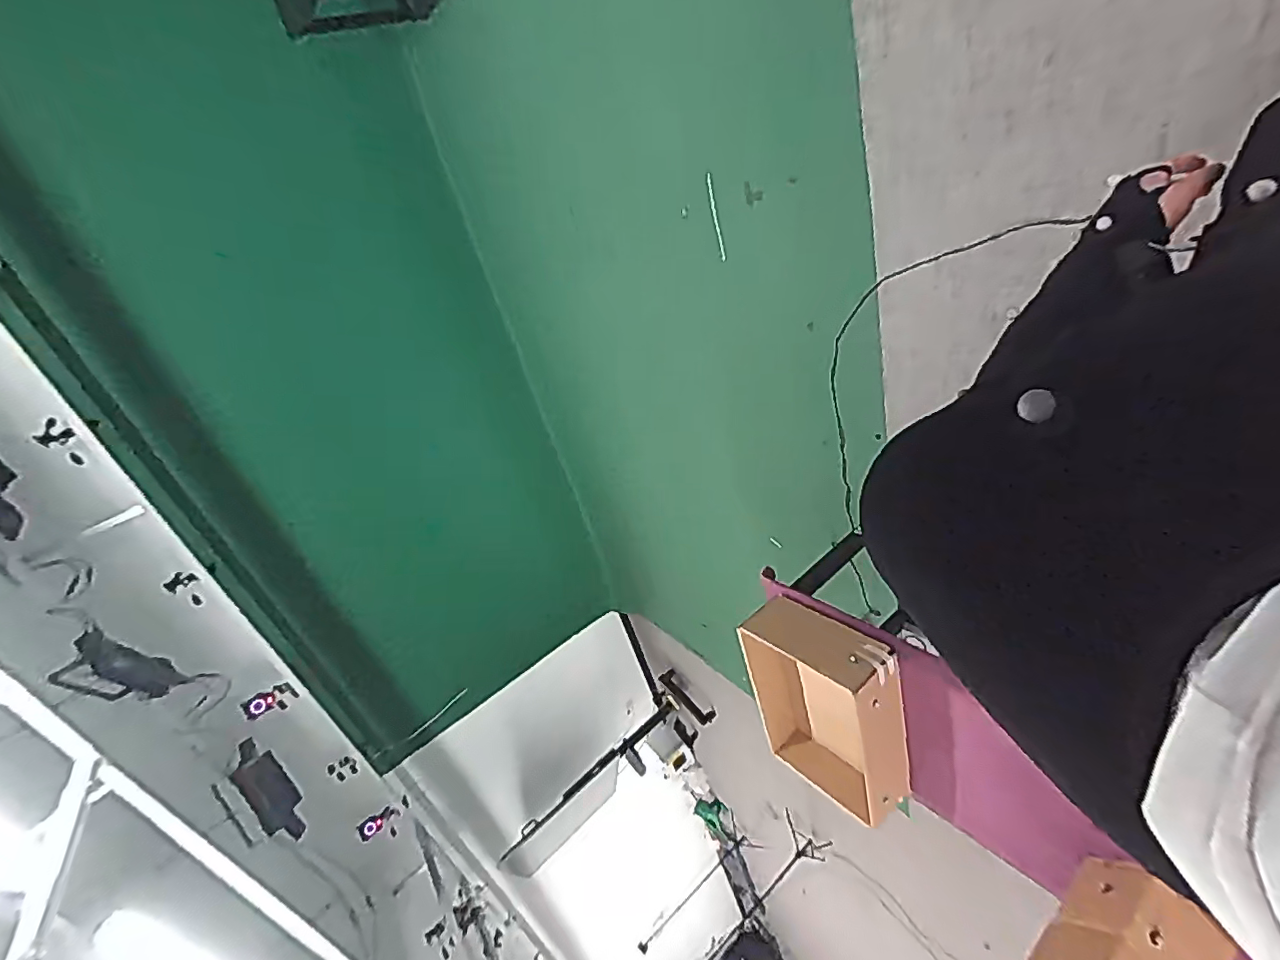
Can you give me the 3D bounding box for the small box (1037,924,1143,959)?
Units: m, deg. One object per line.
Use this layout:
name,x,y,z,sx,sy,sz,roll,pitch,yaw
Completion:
small box,0.886,1.001,1.030,0.168,0.176,0.179,51,154,18

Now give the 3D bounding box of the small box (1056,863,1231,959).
small box,1.013,0.921,1.094,0.179,0.176,0.168,50,154,17
